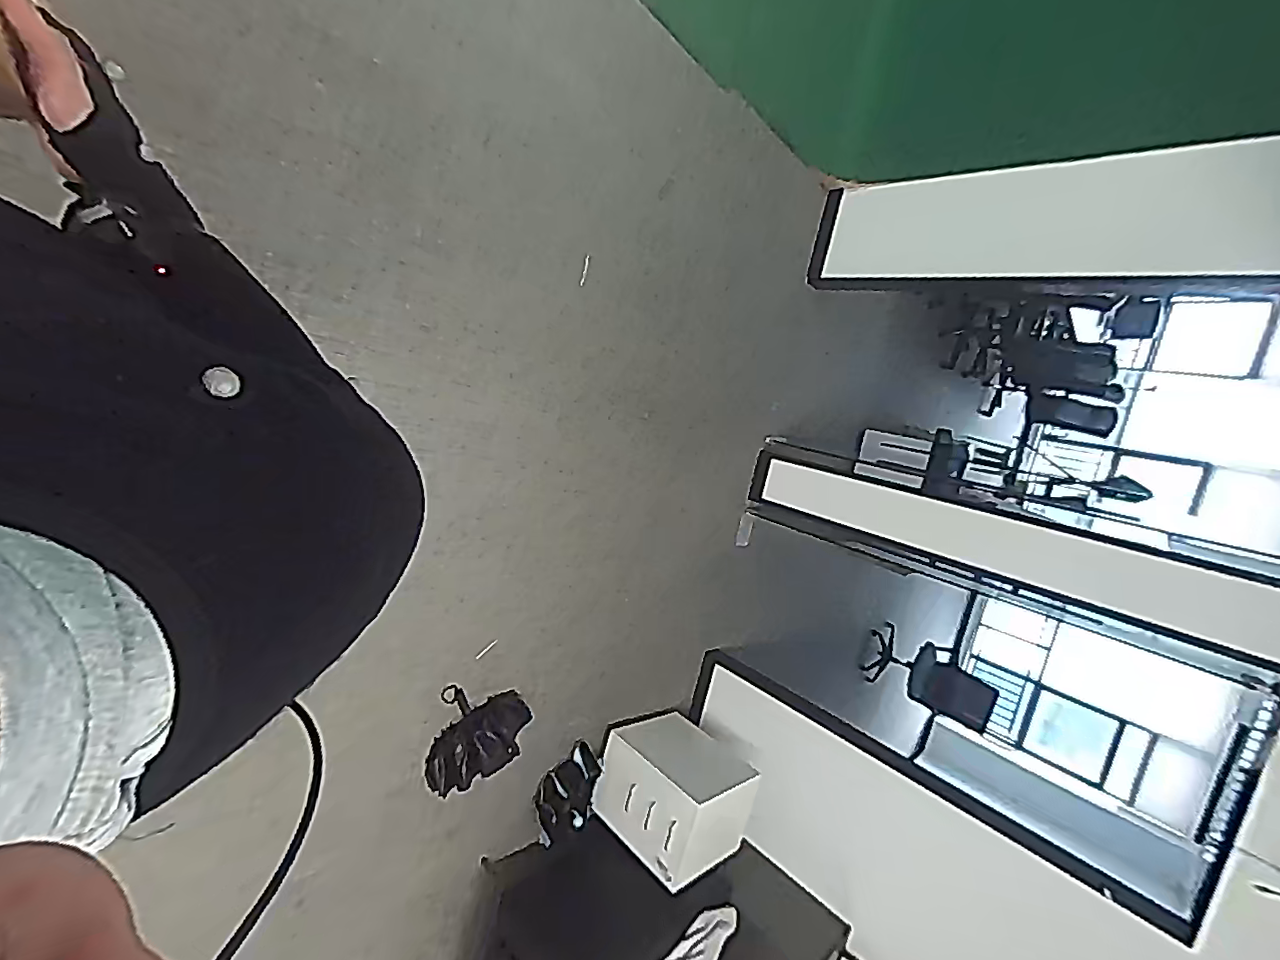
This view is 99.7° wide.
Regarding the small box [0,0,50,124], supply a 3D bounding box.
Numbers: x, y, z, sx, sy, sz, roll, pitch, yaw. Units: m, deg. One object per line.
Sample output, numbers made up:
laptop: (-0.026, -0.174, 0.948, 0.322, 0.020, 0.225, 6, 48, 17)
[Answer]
small box: (-0.474, -0.316, 0.285, 0.179, 0.176, 0.168, -16, 110, -37)
